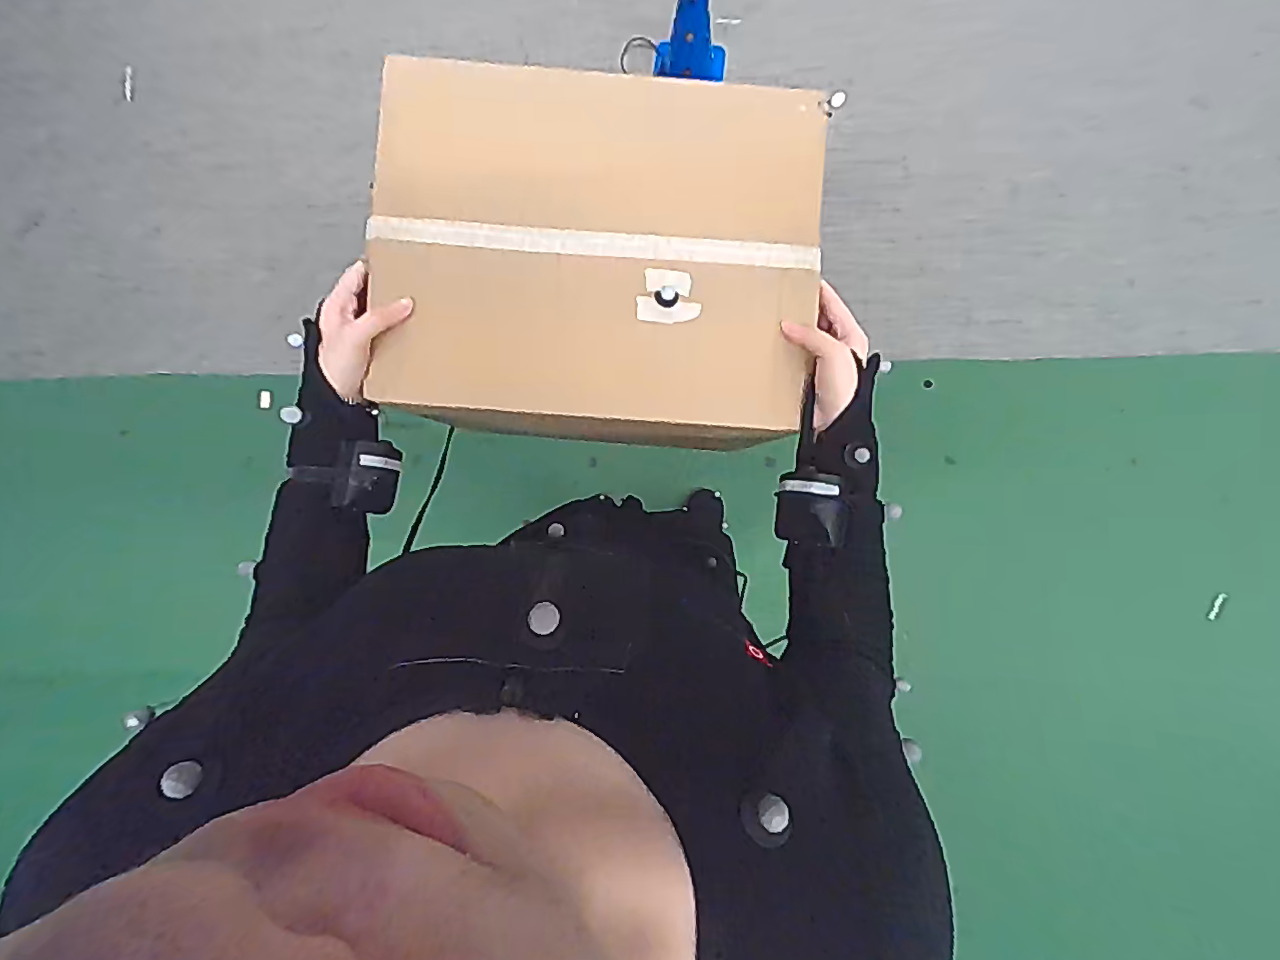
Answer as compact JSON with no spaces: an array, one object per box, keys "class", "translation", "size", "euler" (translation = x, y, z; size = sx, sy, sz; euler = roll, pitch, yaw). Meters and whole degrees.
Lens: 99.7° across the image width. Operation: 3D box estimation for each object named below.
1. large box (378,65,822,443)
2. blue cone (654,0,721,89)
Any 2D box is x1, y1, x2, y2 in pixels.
[{"class":"large box","translation":[-0.041,-0.217,0.647],"size":[0.408,0.320,0.320],"euler":[3,90,-2]},{"class":"blue cone","translation":[0.130,-1.145,1.390],"size":[0.193,0.380,0.192],"euler":[8,89,2]}]
